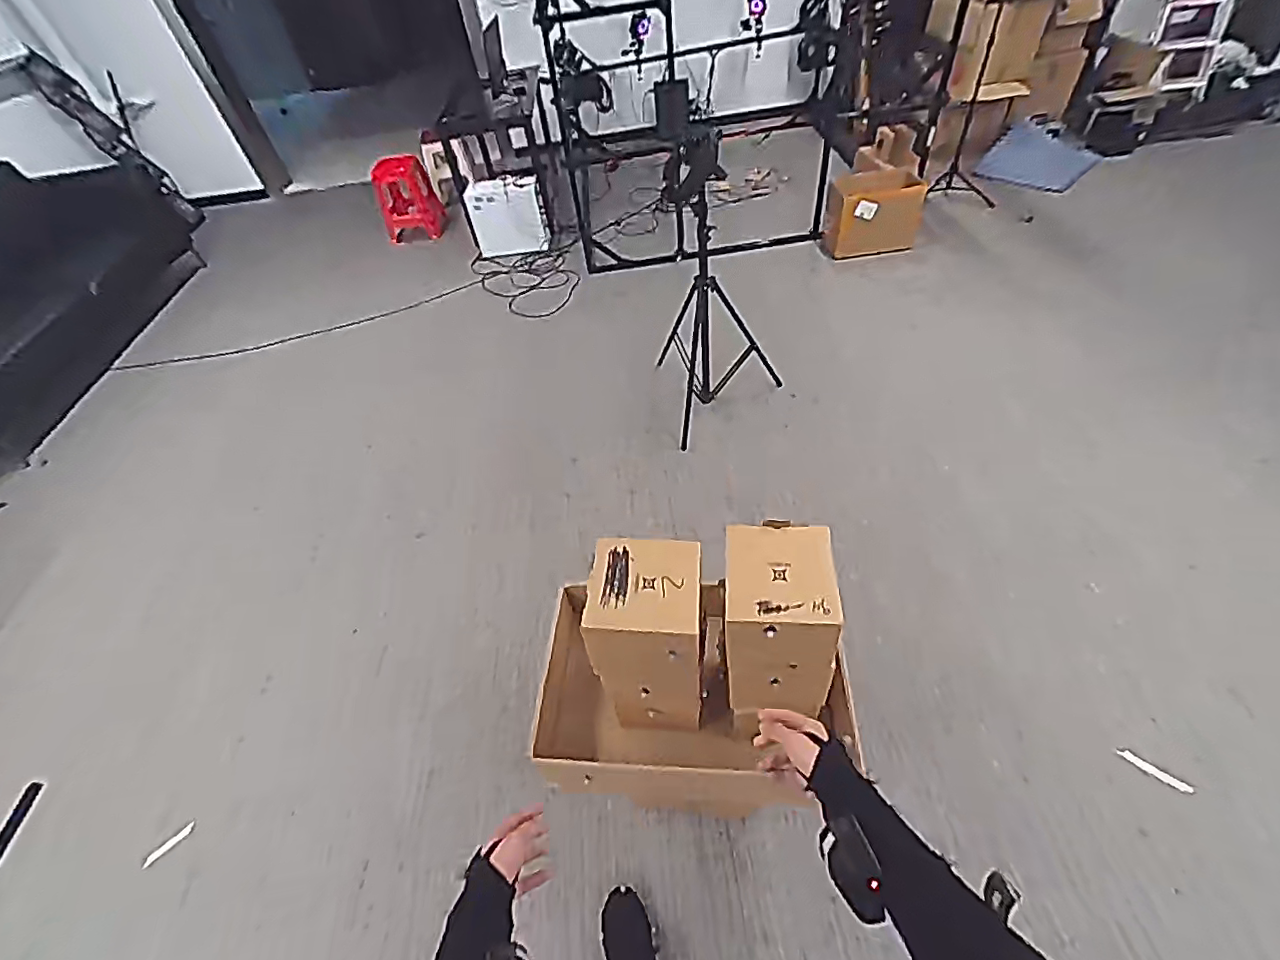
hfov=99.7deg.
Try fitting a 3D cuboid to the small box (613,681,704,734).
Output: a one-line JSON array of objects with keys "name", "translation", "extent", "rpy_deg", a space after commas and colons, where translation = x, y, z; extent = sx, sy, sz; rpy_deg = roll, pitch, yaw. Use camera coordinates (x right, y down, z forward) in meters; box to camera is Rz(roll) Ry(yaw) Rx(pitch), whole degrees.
[{"name": "small box", "translation": [0.045, 0.424, 1.140], "extent": [0.179, 0.176, 0.168], "rpy_deg": [0, 48, 7]}]

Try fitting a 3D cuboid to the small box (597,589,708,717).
[{"name": "small box", "translation": [0.033, 0.325, 1.009], "extent": [0.179, 0.176, 0.168], "rpy_deg": [4, 48, 11]}]
